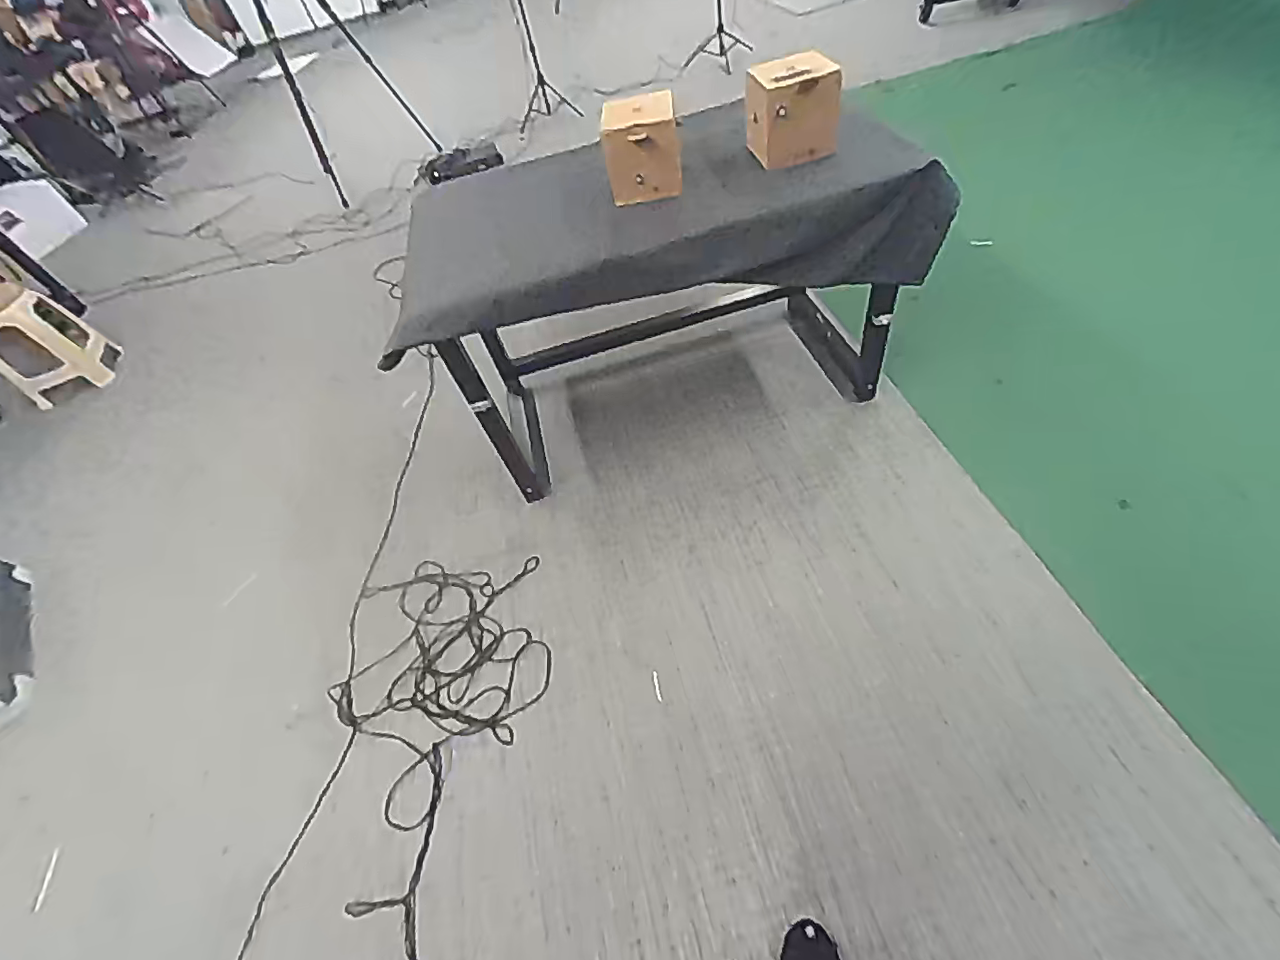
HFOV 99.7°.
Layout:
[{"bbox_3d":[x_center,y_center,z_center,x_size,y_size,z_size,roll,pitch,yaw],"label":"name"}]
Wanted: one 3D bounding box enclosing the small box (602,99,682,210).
[{"bbox_3d":[0.011,-0.775,1.293,0.168,0.176,0.179,-6,52,8],"label":"small box"}]
